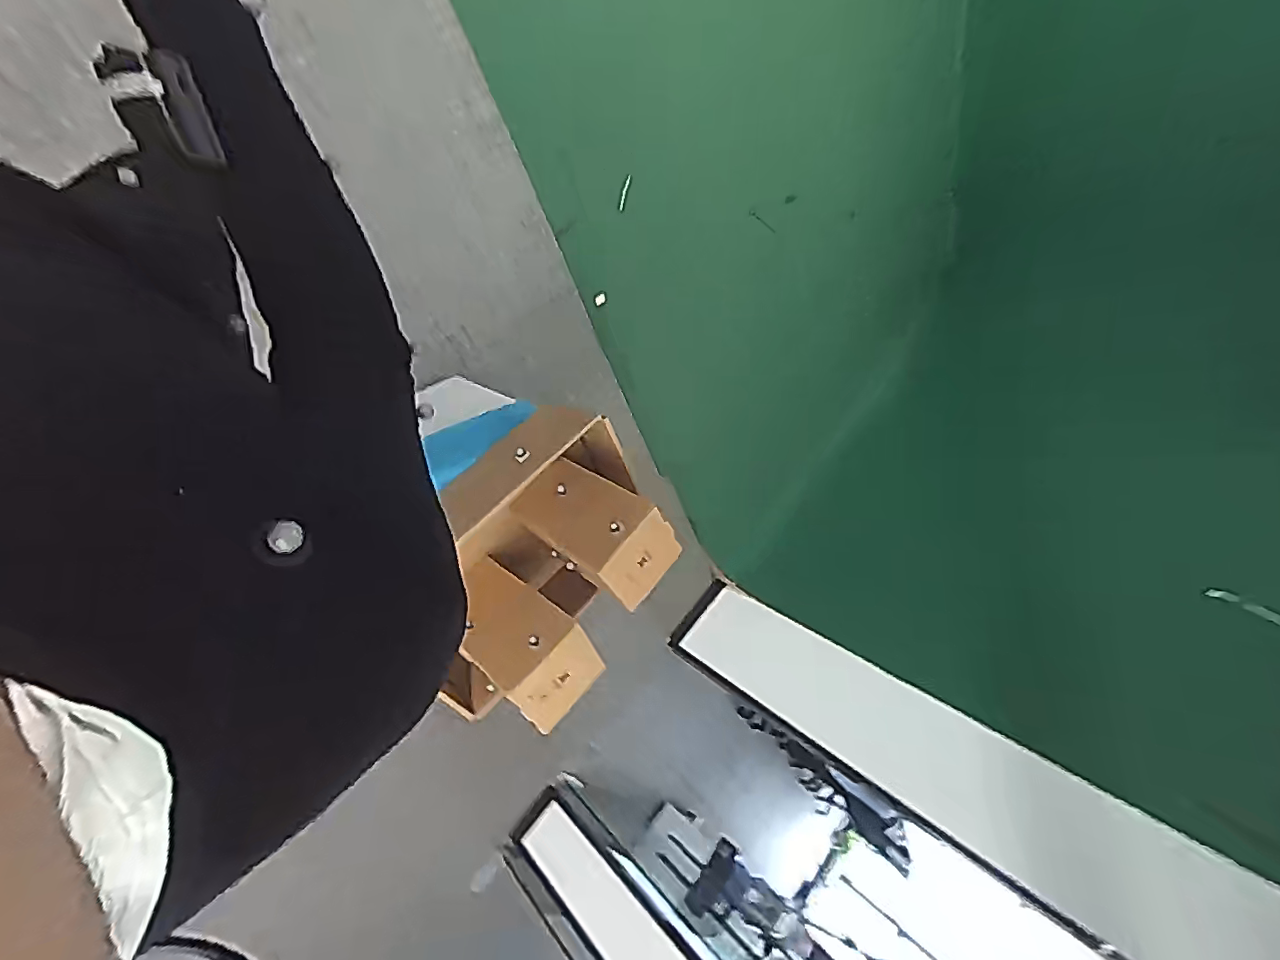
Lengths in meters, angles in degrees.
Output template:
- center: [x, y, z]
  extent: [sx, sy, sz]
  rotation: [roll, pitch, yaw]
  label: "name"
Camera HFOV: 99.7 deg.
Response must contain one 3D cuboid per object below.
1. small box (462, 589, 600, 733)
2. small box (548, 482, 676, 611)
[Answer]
- center: [-0.215, 0.350, 1.073]
  extent: [0.179, 0.176, 0.168]
  rotation: [-42, 134, -24]
  label: "small box"
- center: [-0.058, 0.132, 1.130]
  extent: [0.179, 0.176, 0.168]
  rotation: [-47, 137, -17]
  label: "small box"
